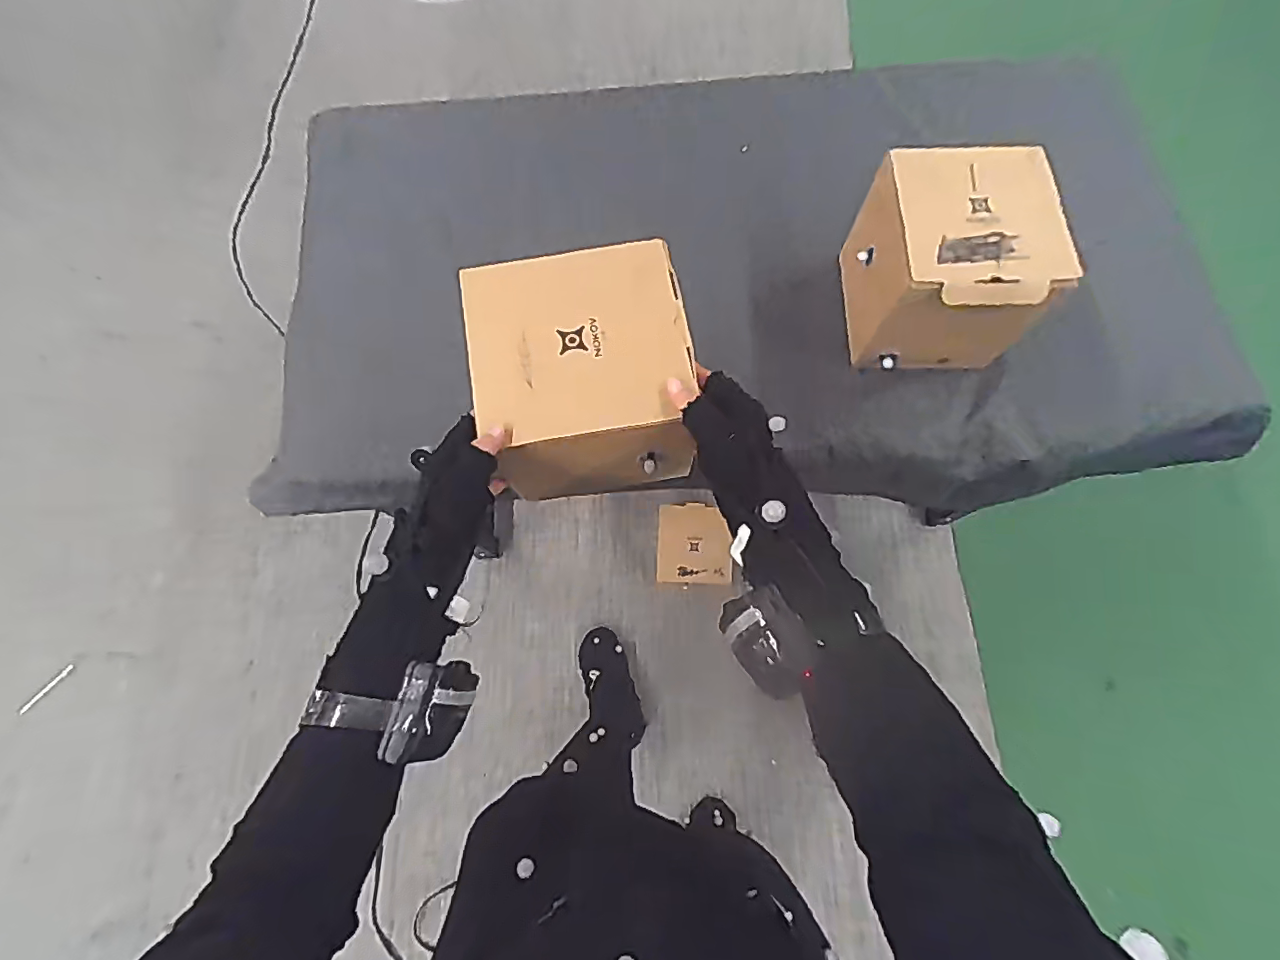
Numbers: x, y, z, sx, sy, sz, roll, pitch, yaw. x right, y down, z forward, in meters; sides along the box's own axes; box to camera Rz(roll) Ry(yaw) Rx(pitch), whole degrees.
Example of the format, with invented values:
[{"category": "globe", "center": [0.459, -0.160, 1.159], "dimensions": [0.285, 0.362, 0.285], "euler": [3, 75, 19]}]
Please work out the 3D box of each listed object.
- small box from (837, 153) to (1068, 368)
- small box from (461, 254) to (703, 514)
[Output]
[{"category": "small box", "center": [0.343, -0.243, 0.633], "dimensions": [0.168, 0.176, 0.179], "euler": [0, 72, 2]}, {"category": "small box", "center": [-0.048, -0.077, 0.509], "dimensions": [0.179, 0.176, 0.168], "euler": [-12, 73, -1]}]
